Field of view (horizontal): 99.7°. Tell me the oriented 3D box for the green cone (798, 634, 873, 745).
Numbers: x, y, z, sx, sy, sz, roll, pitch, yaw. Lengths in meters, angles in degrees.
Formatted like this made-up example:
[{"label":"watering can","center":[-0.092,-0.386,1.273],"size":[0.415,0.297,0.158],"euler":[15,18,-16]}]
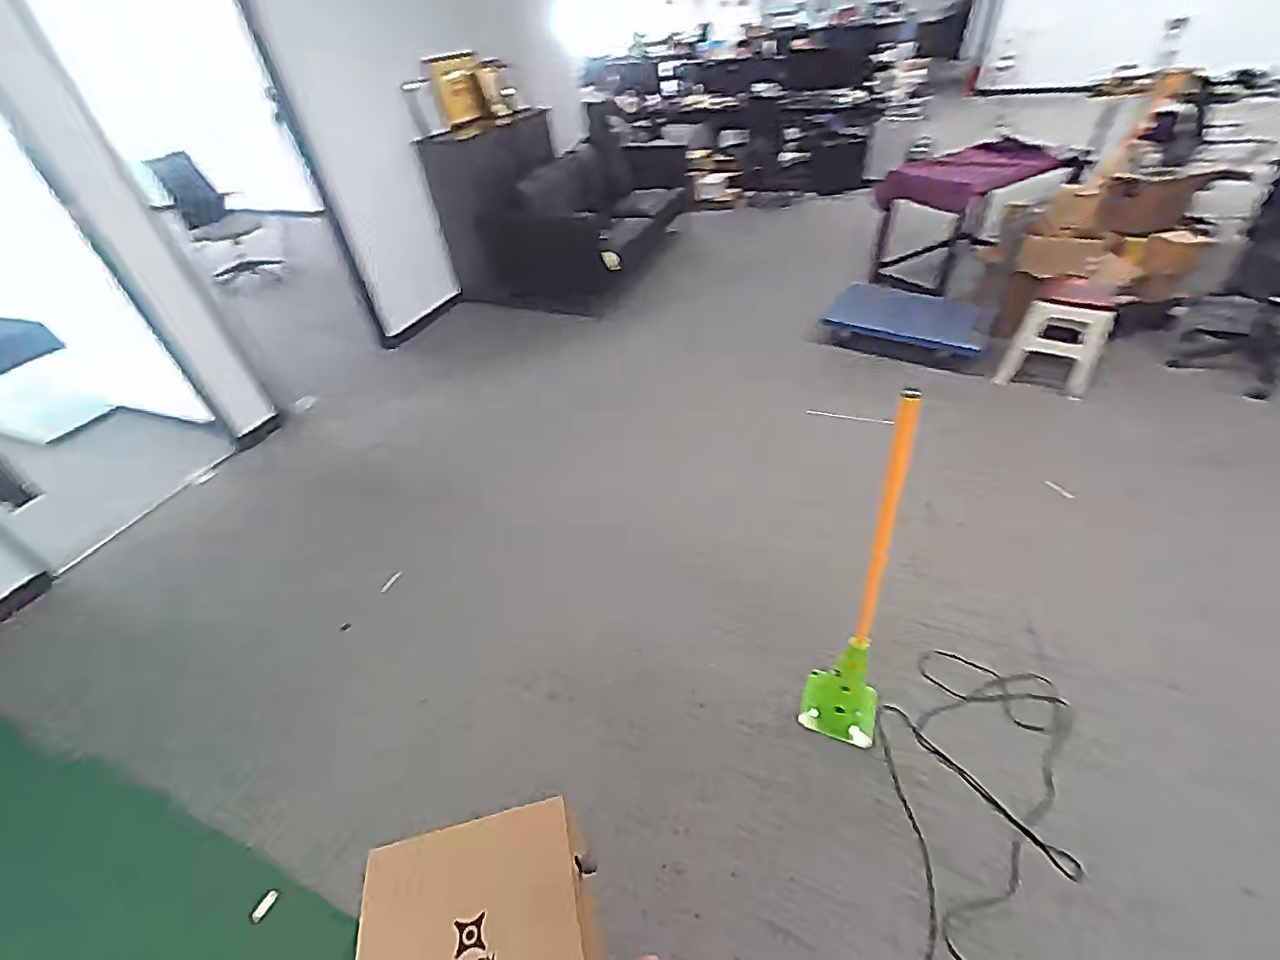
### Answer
[{"label":"green cone","center":[0.582,0.549,1.516],"size":[0.202,0.368,0.200],"euler":[13,45,19]}]
